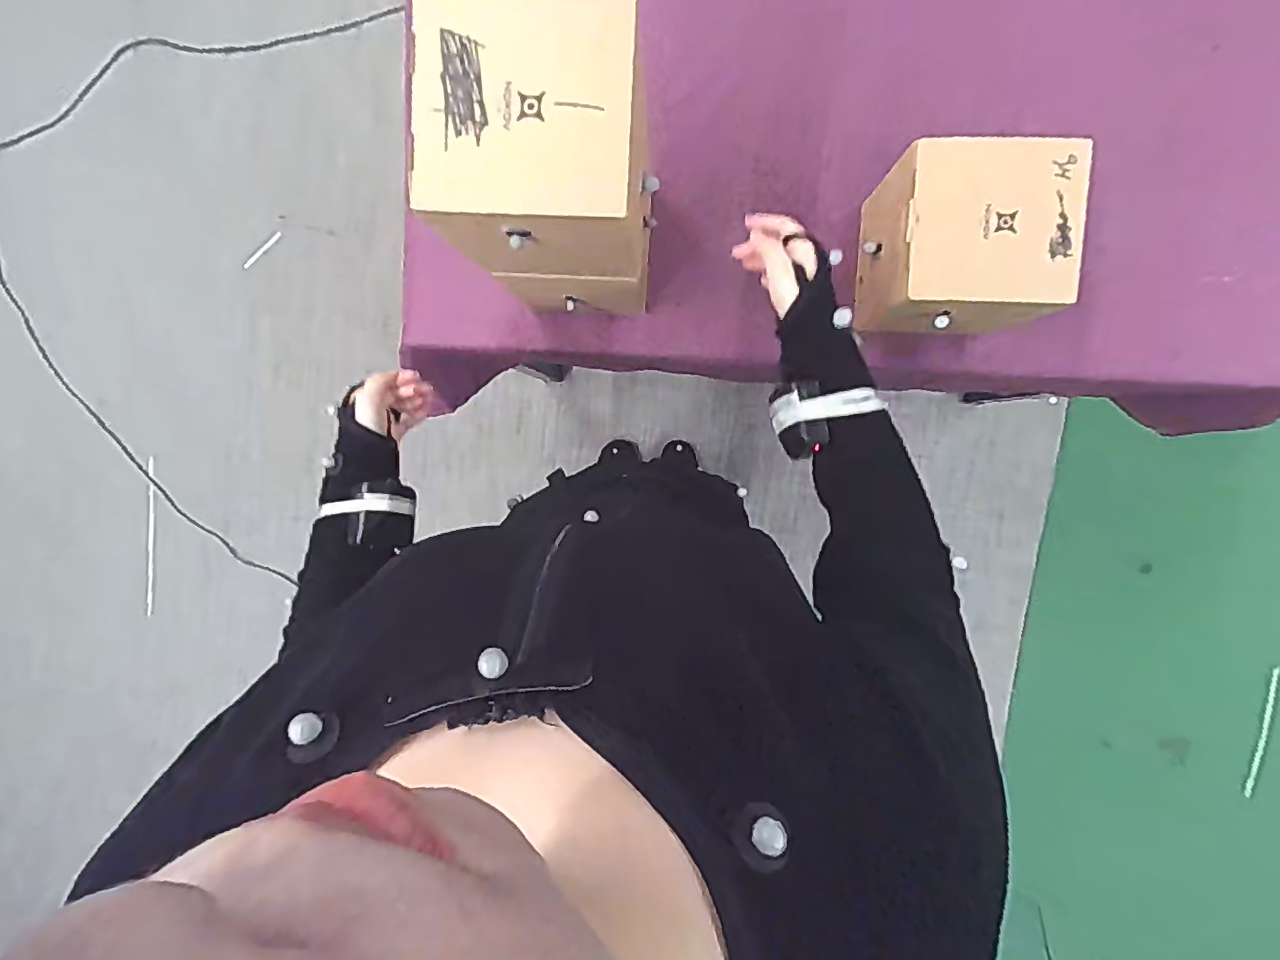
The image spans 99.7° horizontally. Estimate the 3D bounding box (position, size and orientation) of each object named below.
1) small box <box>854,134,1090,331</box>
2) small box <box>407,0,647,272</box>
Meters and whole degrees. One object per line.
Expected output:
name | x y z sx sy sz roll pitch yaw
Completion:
small box | 0.368 -0.274 0.635 0.179 0.176 0.168 4 95 4
small box | -0.089 -0.300 0.497 0.179 0.176 0.168 4 96 3
